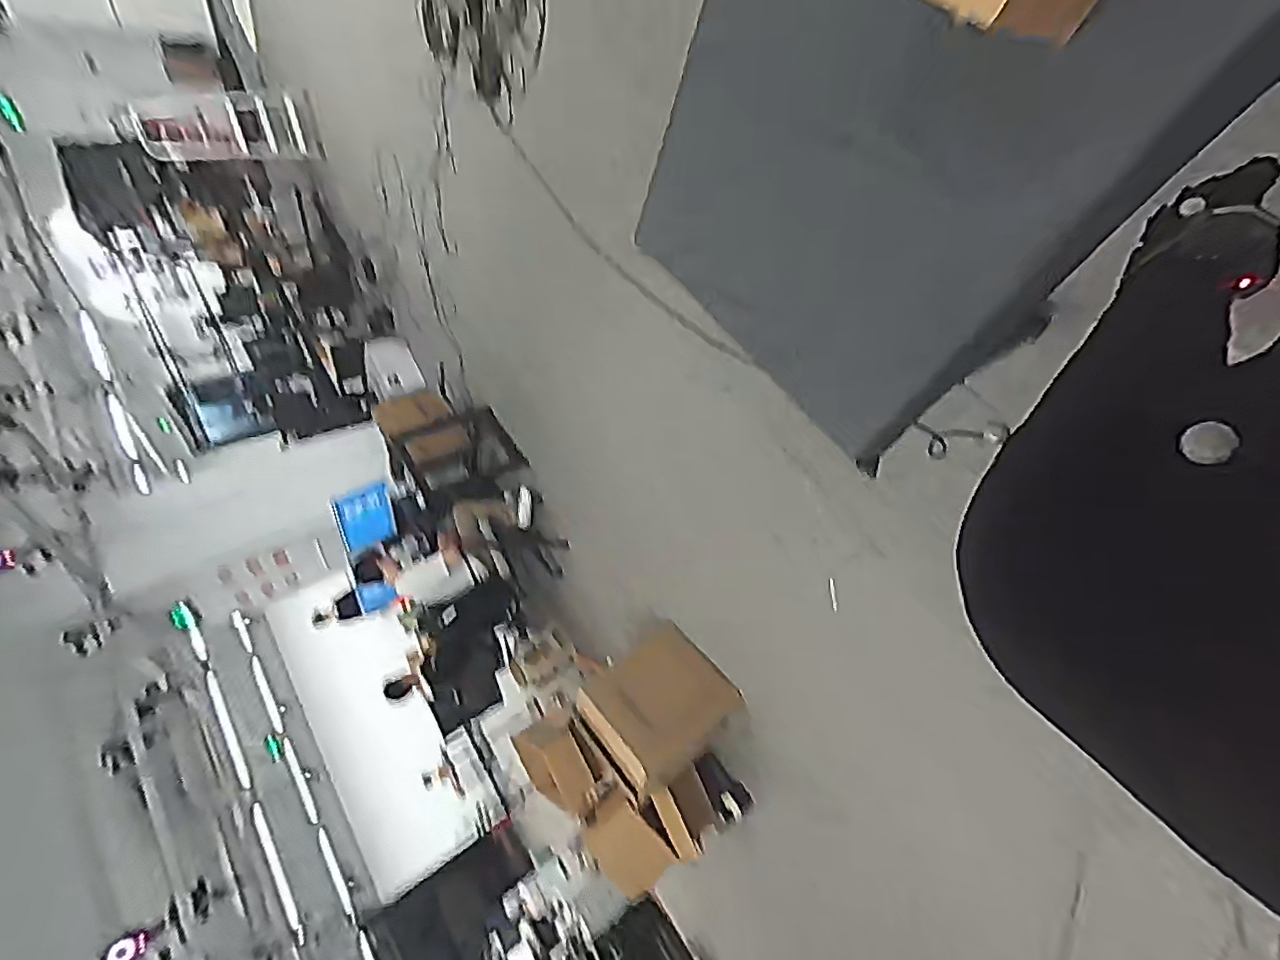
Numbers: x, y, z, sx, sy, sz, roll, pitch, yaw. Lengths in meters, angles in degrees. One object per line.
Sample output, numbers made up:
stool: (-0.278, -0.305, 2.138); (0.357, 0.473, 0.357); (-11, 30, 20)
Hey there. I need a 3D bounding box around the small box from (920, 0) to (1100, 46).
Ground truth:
small box: (0.323, -0.496, 0.444); (0.168, 0.176, 0.179); (52, 147, 23)
